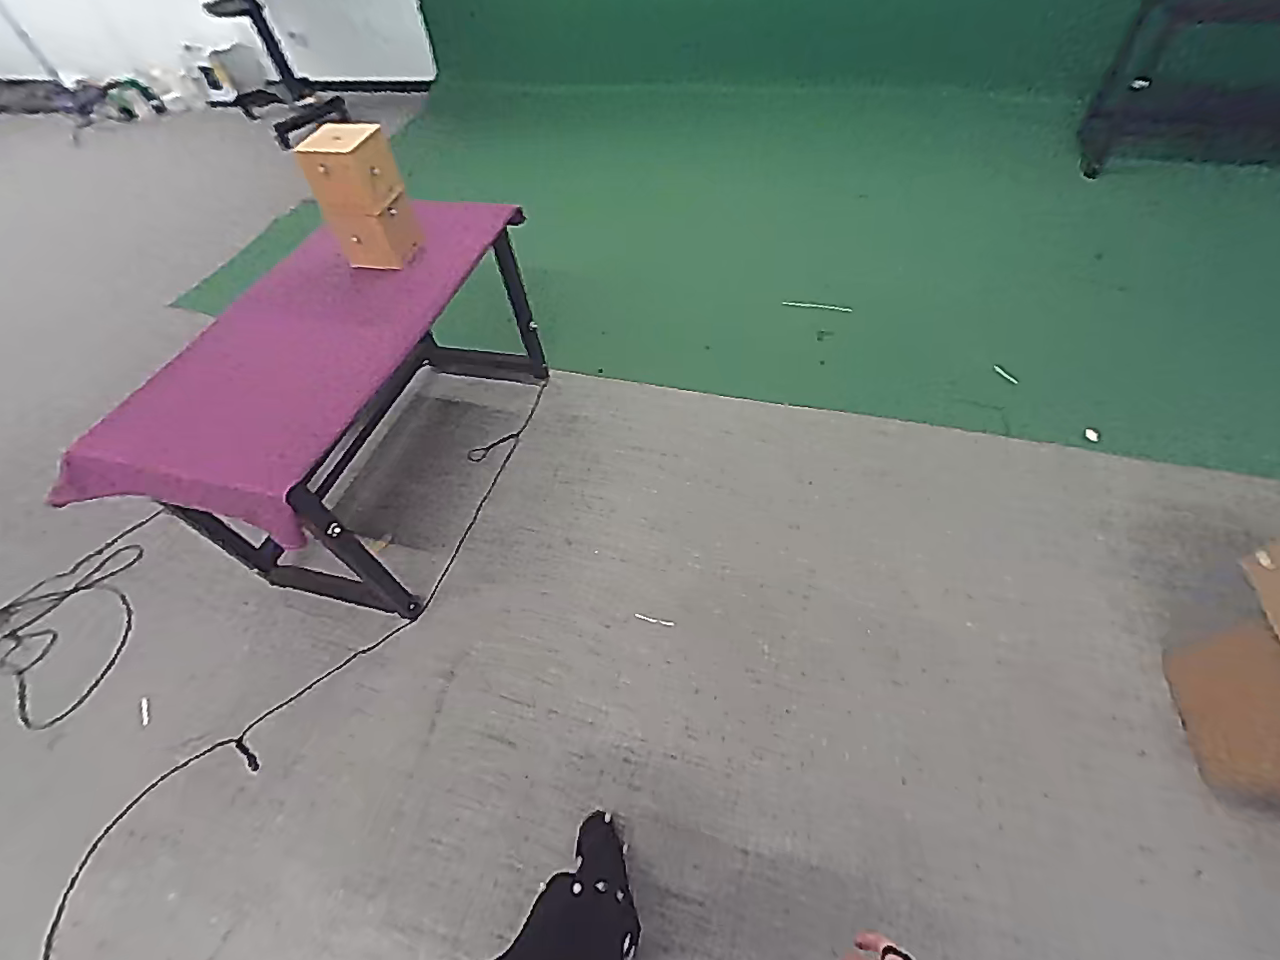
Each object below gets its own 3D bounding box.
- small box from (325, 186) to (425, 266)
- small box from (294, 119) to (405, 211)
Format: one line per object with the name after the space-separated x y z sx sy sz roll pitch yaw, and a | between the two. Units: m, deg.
-0.779 -0.758 1.608 0.179 0.176 0.168 7 55 11 | small box
-0.780 -0.854 1.476 0.179 0.176 0.168 8 55 12 | small box
